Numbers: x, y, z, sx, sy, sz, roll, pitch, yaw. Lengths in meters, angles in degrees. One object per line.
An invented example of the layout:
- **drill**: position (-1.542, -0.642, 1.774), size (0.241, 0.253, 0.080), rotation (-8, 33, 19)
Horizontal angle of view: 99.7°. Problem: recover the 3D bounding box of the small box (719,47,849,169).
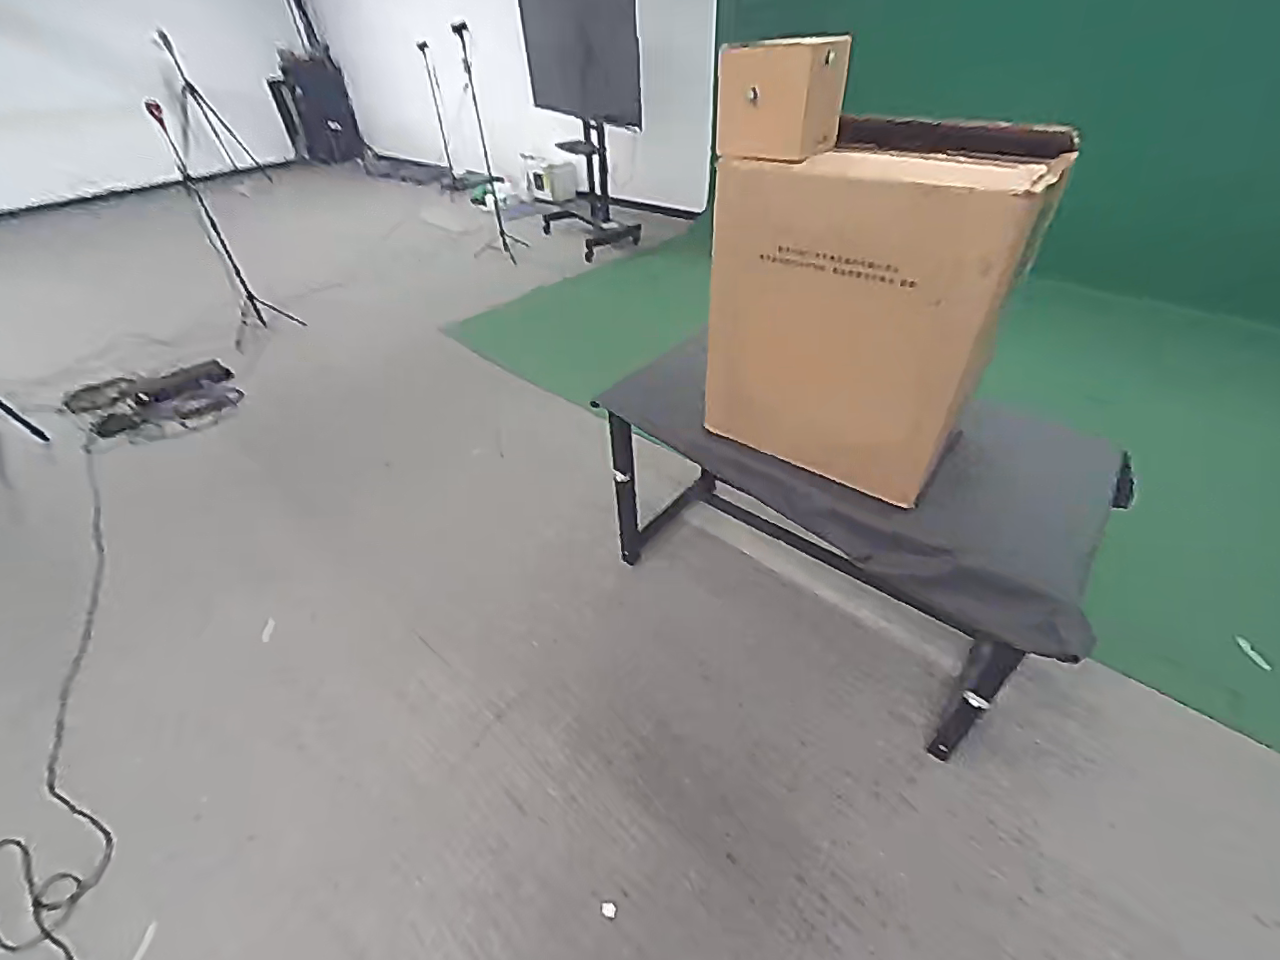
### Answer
- **small box**: position (0.262, -0.690, 1.008), size (0.179, 0.176, 0.168), rotation (24, 48, 31)
